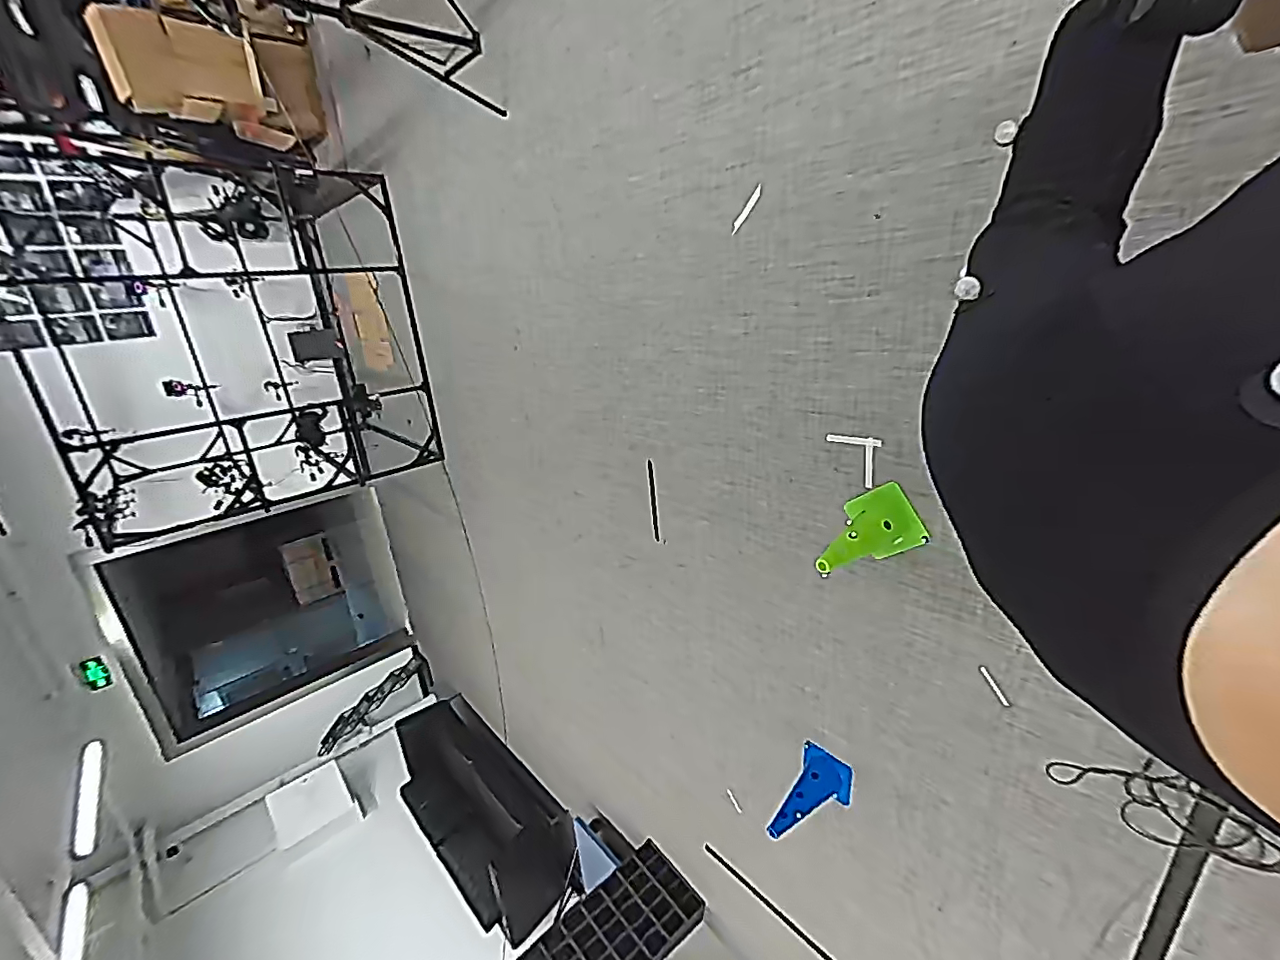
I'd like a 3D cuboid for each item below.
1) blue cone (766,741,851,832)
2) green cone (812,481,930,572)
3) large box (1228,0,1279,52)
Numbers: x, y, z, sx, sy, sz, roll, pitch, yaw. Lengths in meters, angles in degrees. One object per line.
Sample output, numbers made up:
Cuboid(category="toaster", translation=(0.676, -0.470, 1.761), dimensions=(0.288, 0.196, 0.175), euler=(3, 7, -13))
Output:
Cuboid(category="blue cone", translation=(0.609, 1.184, 2.019), dimensions=(0.192, 0.380, 0.193), euler=(22, 122, 45))
Cuboid(category="green cone", translation=(0.607, 0.169, 1.519), dimensions=(0.200, 0.368, 0.202), euler=(62, 144, 10))
Cuboid(category="large box", translation=(0.568, -0.448, 0.219), dimensions=(0.408, 0.320, 0.320), euler=(18, 122, 44))
